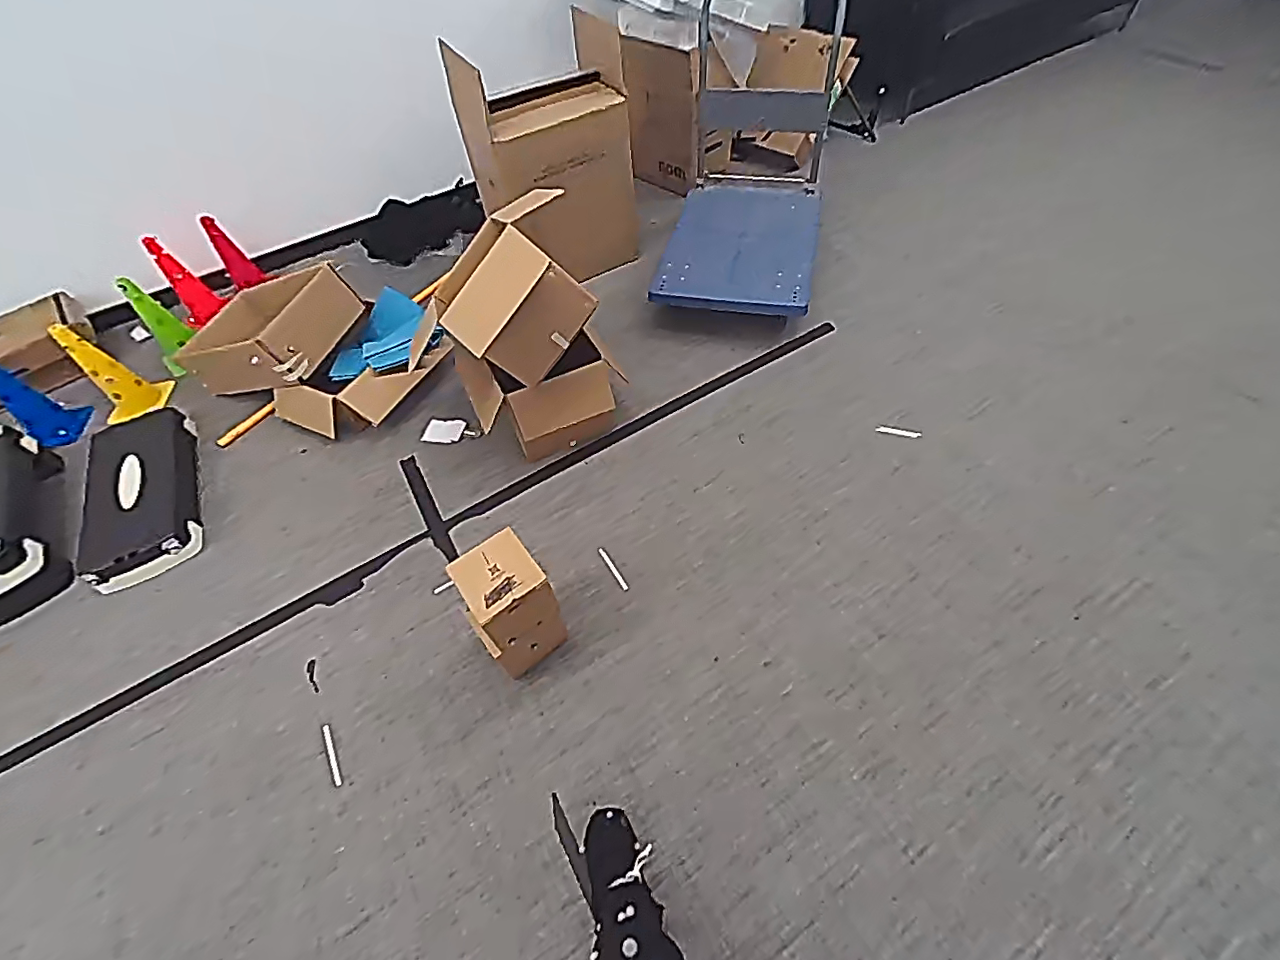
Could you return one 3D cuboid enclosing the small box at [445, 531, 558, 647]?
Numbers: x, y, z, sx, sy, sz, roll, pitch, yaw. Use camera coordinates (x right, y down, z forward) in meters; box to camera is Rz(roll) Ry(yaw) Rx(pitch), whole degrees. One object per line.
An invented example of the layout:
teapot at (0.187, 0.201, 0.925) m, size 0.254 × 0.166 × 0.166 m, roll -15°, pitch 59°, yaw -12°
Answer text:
small box at (-0.307, 0.256, 1.228) m, size 0.168 × 0.176 × 0.179 m, roll -33°, pitch 57°, yaw -19°
